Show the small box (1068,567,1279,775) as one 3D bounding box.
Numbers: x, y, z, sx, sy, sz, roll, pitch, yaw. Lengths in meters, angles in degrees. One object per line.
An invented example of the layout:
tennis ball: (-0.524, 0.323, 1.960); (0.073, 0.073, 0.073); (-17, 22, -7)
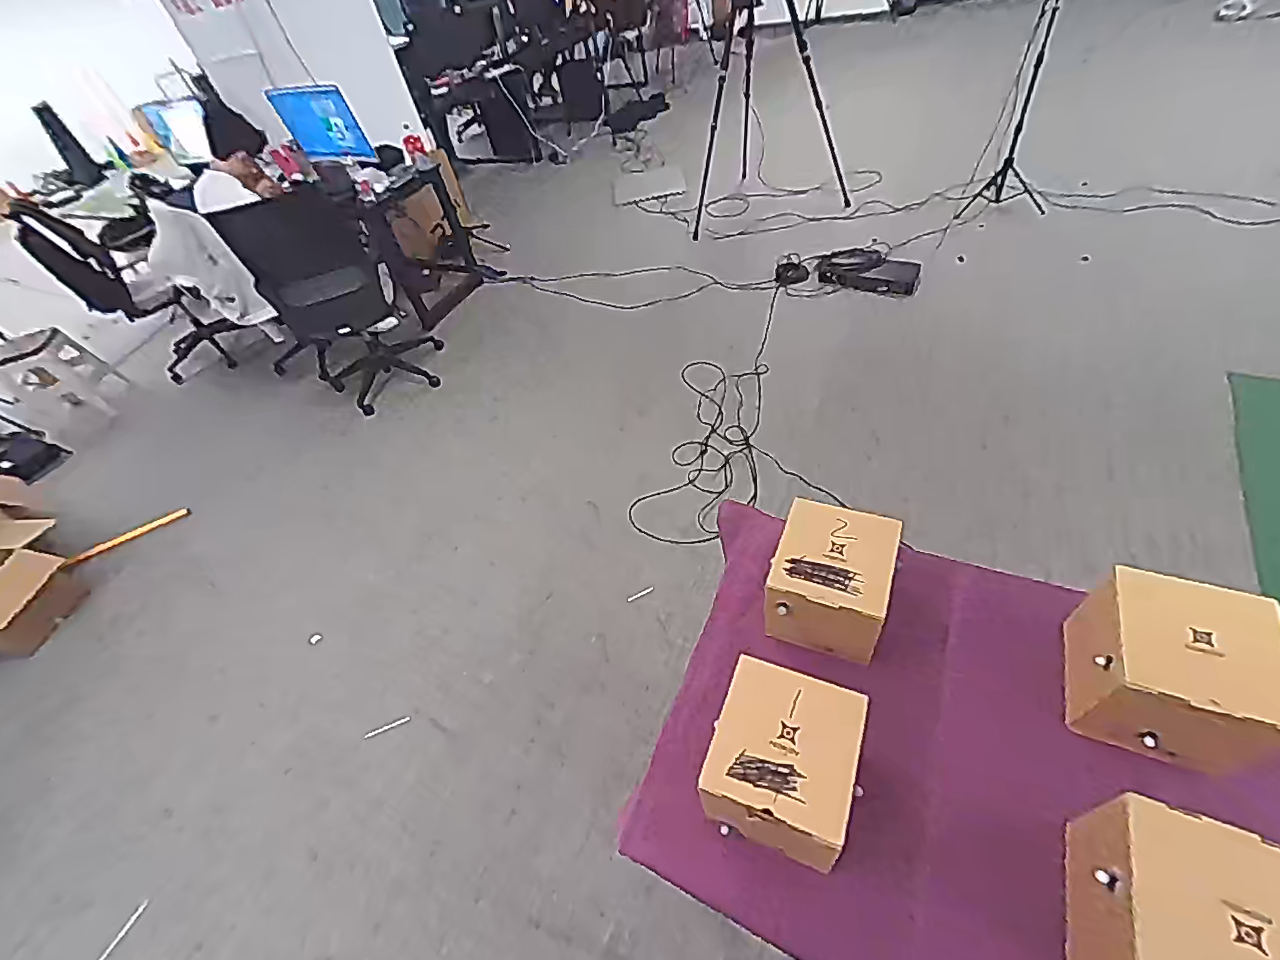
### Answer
small box: (0.690, 0.248, 0.705); (0.168, 0.176, 0.179); (14, 54, 23)

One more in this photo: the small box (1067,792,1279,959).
small box: (0.558, 0.458, 0.541); (0.168, 0.176, 0.179); (15, 52, 25)

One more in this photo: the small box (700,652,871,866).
small box: (0.189, 0.362, 0.702); (0.168, 0.176, 0.179); (13, 51, 22)
